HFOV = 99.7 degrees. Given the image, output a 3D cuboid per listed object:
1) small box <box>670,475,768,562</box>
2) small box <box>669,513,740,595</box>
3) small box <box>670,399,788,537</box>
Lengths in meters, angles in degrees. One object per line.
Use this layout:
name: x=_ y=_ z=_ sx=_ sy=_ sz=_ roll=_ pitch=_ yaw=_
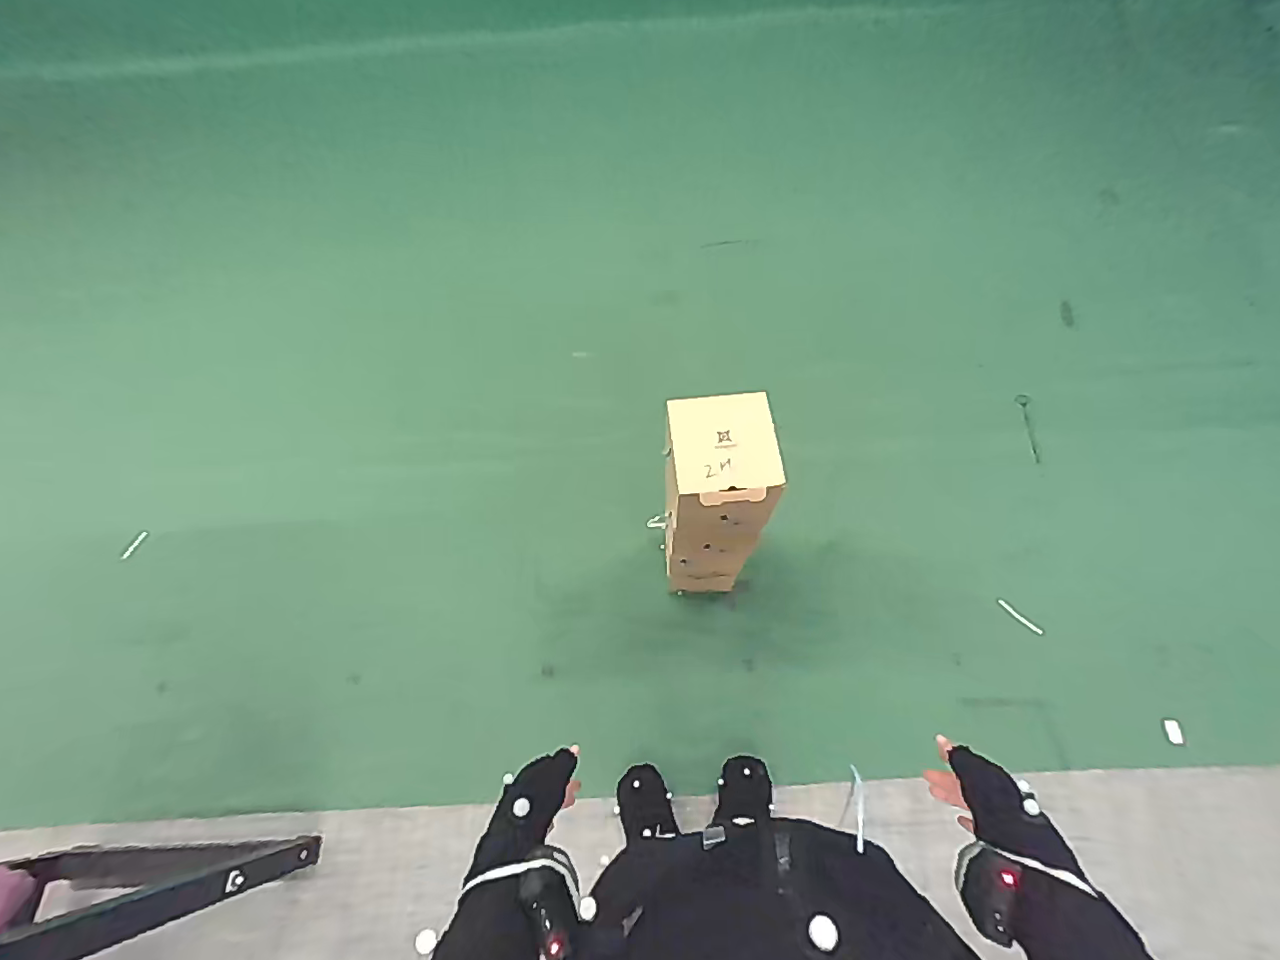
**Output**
small box: x=0.148 y=0.053 z=1.080 sx=0.168 sy=0.176 sz=0.179 roll=-4 pitch=65 yaw=1
small box: x=0.159 y=0.193 z=1.375 sx=0.168 sy=0.176 sz=0.179 roll=-2 pitch=64 yaw=2
small box: x=0.141 y=-0.016 z=0.930 sx=0.168 sy=0.176 sz=0.179 roll=-5 pitch=65 yaw=0
